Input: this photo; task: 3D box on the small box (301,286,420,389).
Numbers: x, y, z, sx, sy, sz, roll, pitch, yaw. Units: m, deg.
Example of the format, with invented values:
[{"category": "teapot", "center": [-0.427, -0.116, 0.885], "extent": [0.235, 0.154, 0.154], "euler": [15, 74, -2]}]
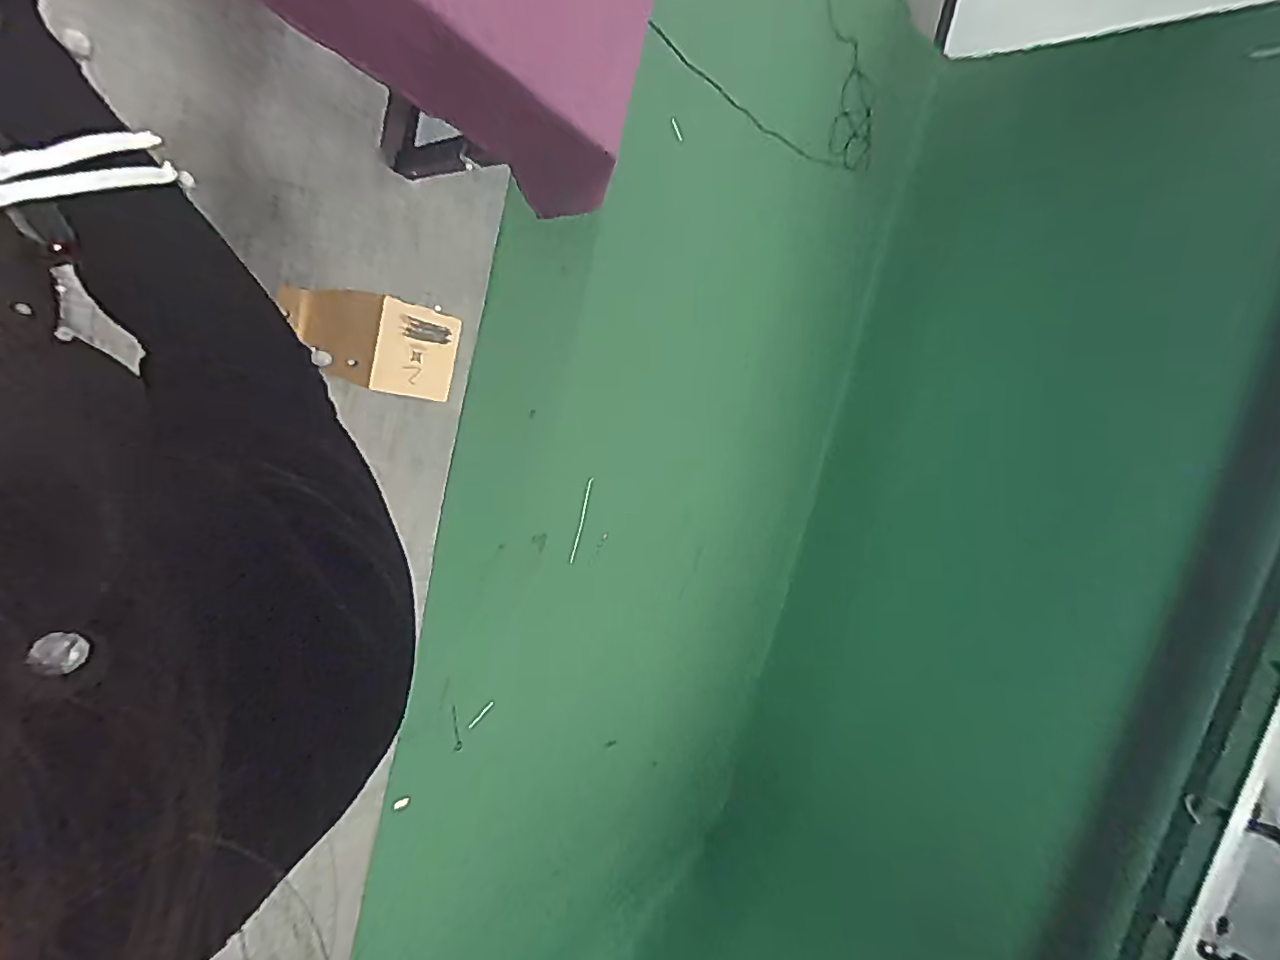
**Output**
[{"category": "small box", "center": [-0.621, -0.314, 1.195], "extent": [0.168, 0.176, 0.179], "euler": [6, 100, -54]}]

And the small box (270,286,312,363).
[{"category": "small box", "center": [-0.751, -0.355, 1.285], "extent": [0.179, 0.176, 0.168], "euler": [2, 104, -53]}]
